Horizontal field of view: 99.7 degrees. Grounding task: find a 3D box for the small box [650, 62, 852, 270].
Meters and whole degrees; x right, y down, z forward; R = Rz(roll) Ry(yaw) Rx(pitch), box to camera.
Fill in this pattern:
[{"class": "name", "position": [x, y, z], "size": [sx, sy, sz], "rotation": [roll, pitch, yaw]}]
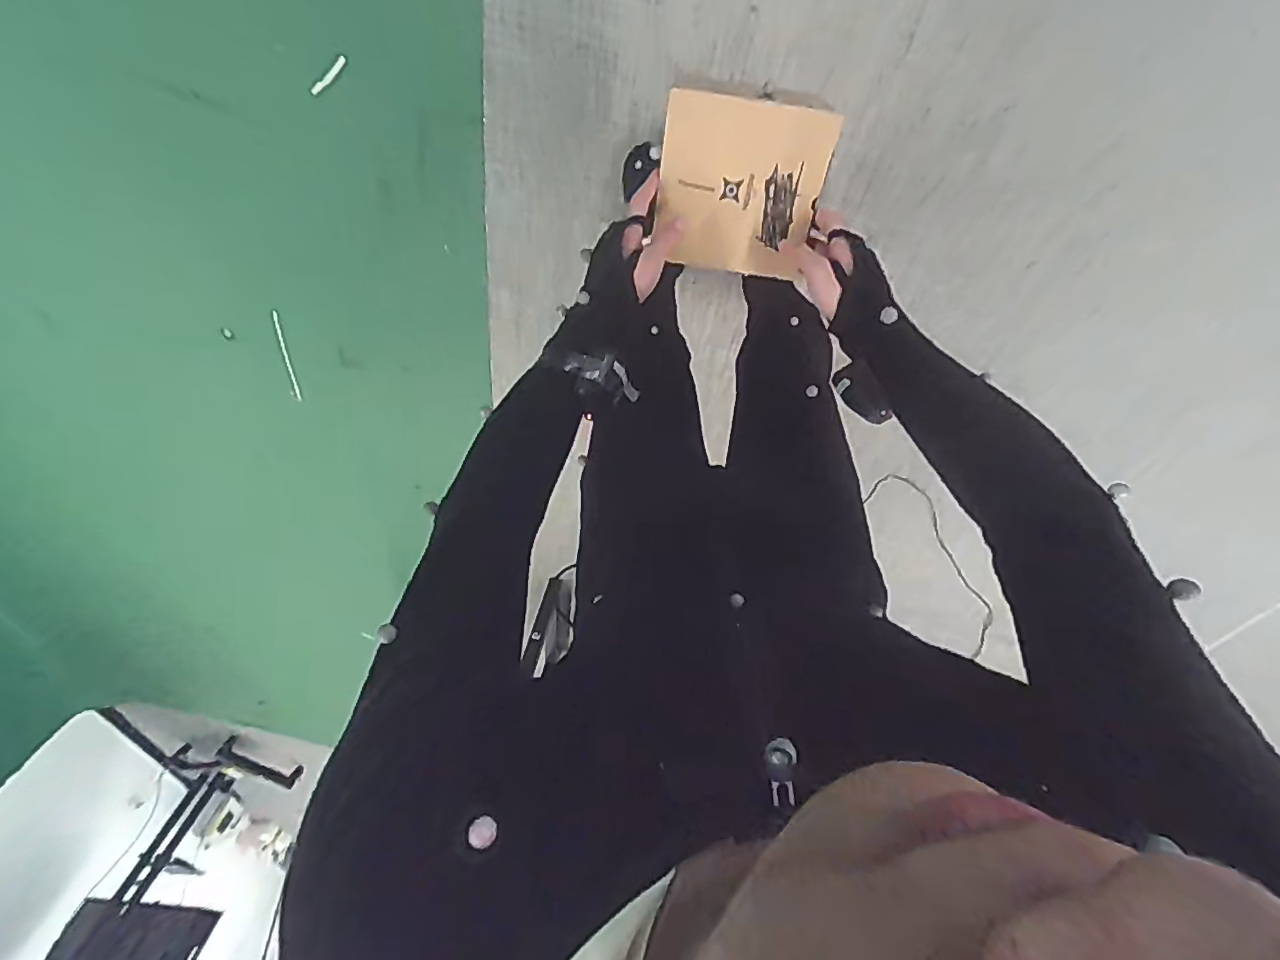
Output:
[{"class": "small box", "position": [0.114, -0.364, 0.622], "size": [0.179, 0.176, 0.168], "rotation": [9, 131, -1]}]
